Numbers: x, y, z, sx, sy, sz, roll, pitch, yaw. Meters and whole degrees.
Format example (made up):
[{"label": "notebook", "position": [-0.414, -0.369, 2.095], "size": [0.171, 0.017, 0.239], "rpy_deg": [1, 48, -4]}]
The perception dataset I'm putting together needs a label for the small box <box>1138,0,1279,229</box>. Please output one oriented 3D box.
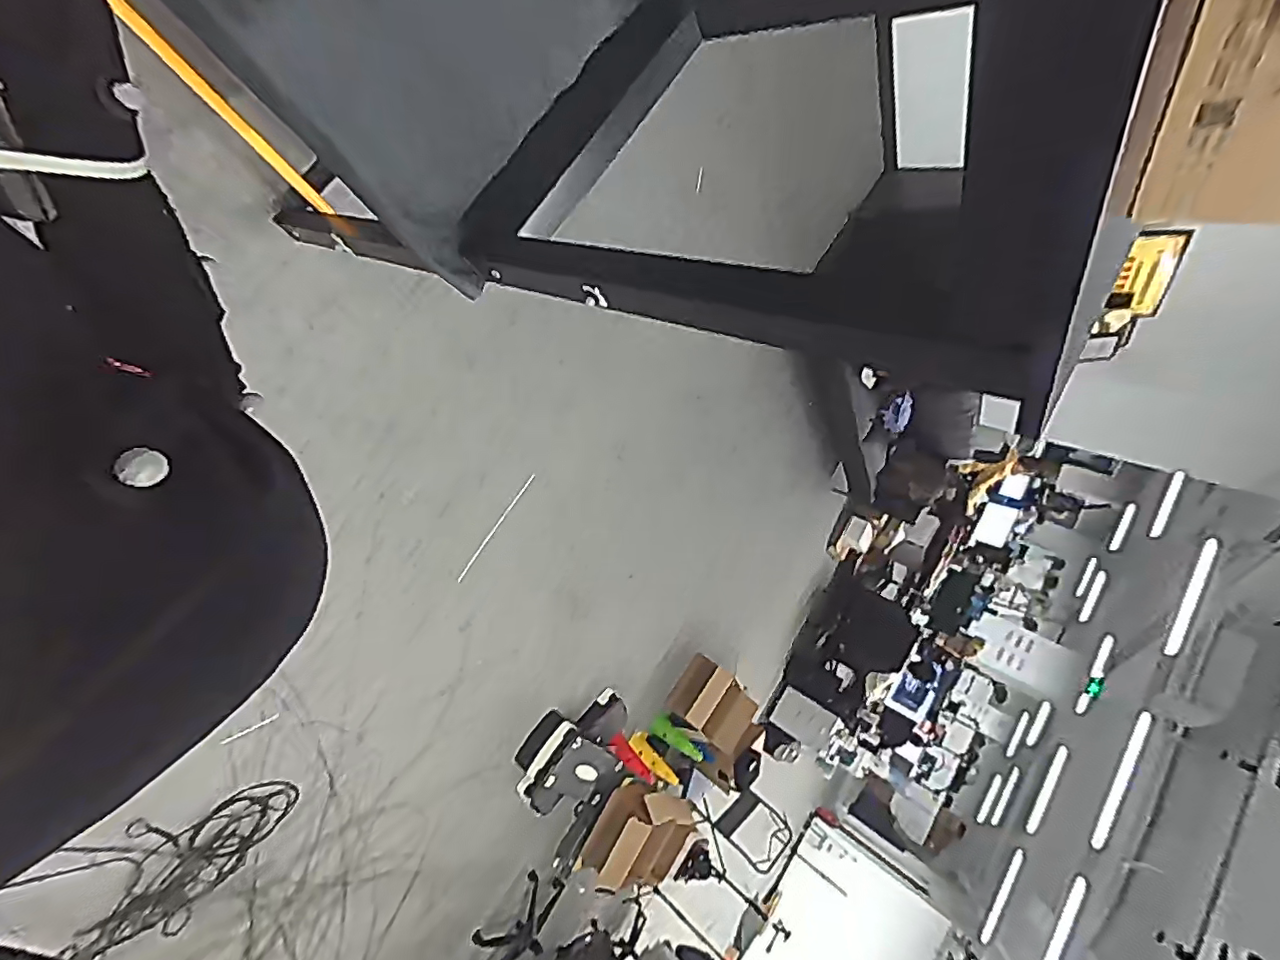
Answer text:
[{"label": "small box", "position": [0.375, -0.233, 0.237], "size": [0.179, 0.176, 0.168], "rpy_deg": [-52, 142, -15]}]
